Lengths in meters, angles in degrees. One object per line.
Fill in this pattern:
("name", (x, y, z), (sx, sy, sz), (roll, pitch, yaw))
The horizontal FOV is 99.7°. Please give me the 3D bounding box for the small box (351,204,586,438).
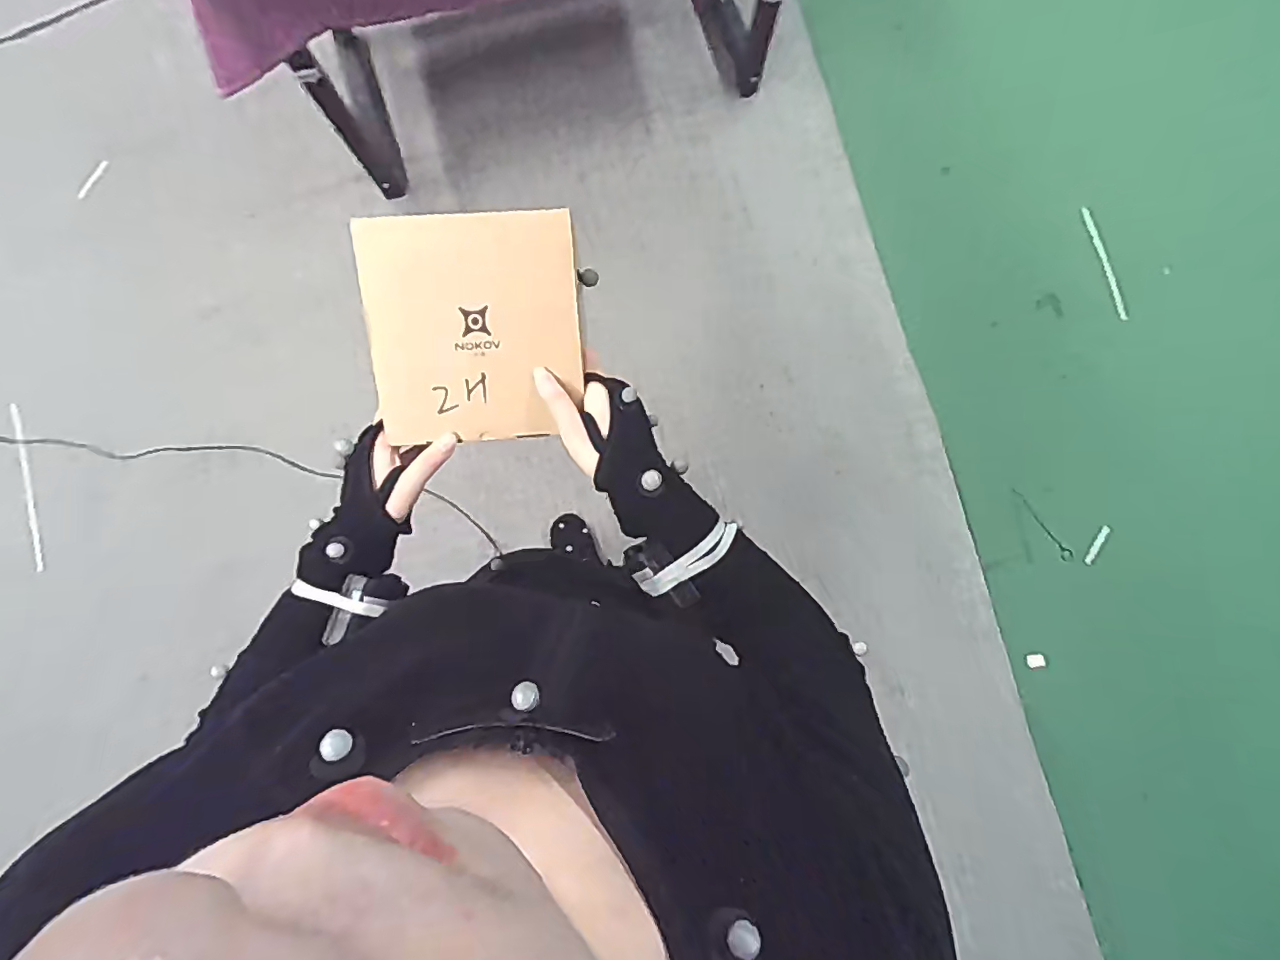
("small box", (-0.140, -0.142, 0.508), (0.168, 0.176, 0.179), (-4, 104, -3))
